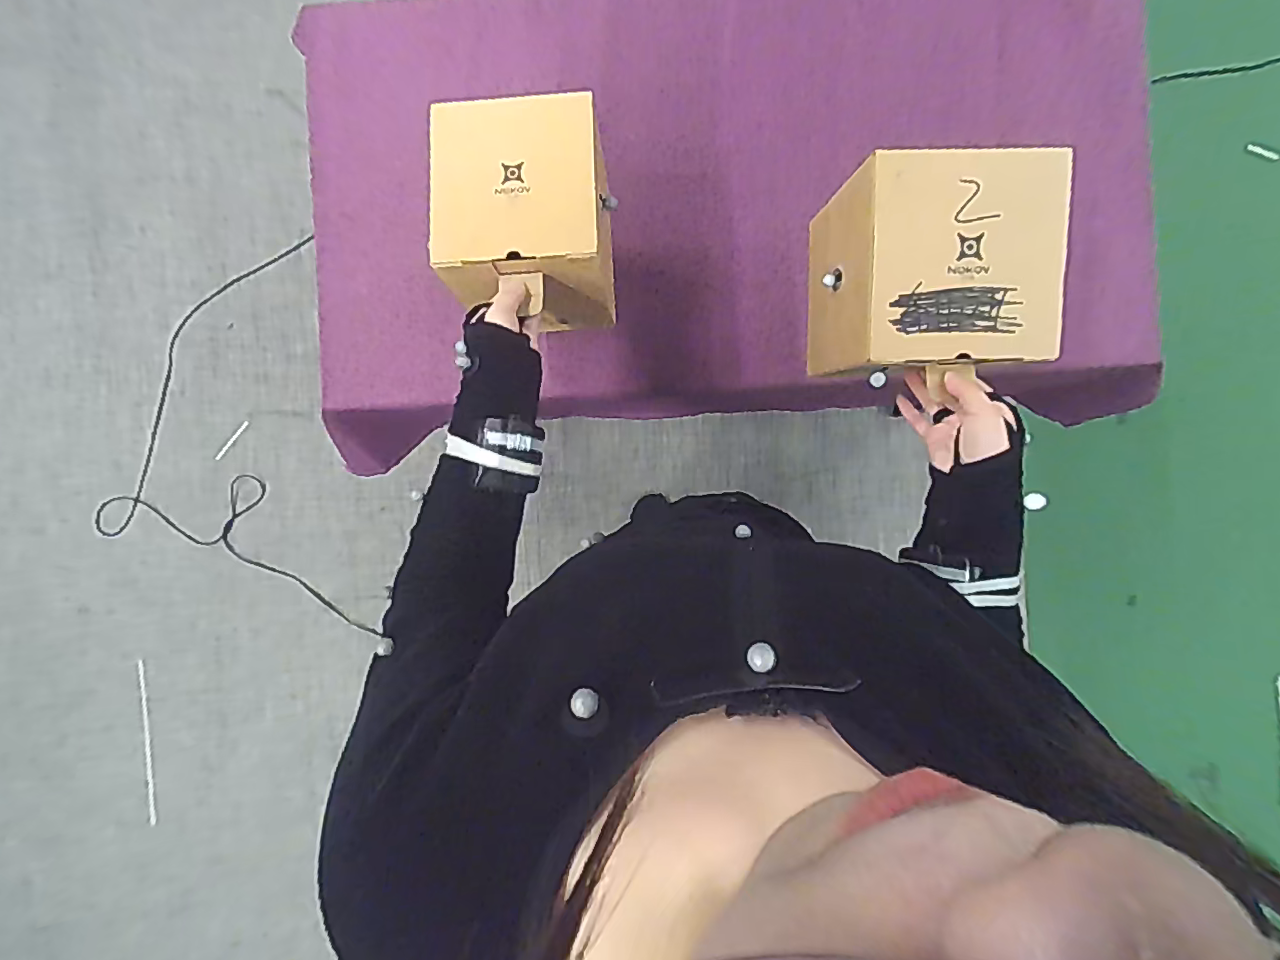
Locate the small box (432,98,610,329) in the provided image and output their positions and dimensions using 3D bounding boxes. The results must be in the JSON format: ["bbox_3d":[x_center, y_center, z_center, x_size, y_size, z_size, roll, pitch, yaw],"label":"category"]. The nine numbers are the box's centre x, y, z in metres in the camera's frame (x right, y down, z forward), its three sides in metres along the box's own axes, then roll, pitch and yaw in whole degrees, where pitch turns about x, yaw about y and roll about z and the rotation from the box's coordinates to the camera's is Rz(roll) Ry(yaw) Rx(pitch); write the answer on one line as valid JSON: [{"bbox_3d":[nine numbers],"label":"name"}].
[{"bbox_3d":[-0.125,-0.293,0.625,0.168,0.176,0.179,-3,83,2],"label":"small box"}]
